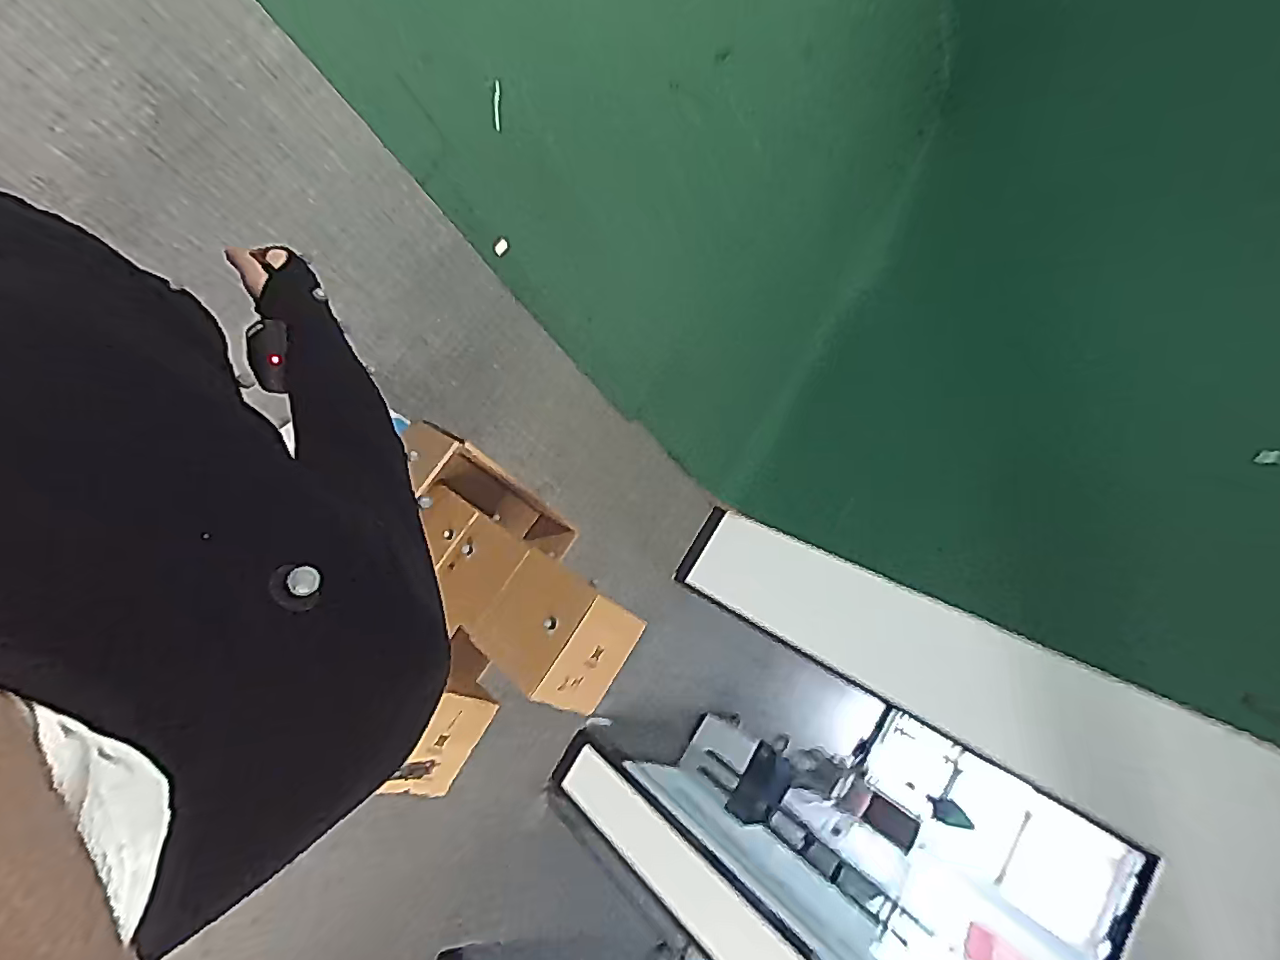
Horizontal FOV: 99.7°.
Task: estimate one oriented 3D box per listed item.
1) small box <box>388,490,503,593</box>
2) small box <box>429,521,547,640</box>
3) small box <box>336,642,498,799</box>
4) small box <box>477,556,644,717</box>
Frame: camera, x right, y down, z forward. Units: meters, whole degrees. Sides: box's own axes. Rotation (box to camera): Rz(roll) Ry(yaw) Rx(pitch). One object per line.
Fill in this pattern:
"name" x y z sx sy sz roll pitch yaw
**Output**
"small box" -0.361 0.142 1.086 0.168 0.176 0.179 -56 141 -11
"small box" -0.243 0.198 0.989 0.168 0.176 0.179 -56 140 -11
"small box" -0.389 0.412 0.933 0.179 0.176 0.168 -57 141 -11
"small box" -0.130 0.251 0.882 0.179 0.176 0.168 -56 140 -11
